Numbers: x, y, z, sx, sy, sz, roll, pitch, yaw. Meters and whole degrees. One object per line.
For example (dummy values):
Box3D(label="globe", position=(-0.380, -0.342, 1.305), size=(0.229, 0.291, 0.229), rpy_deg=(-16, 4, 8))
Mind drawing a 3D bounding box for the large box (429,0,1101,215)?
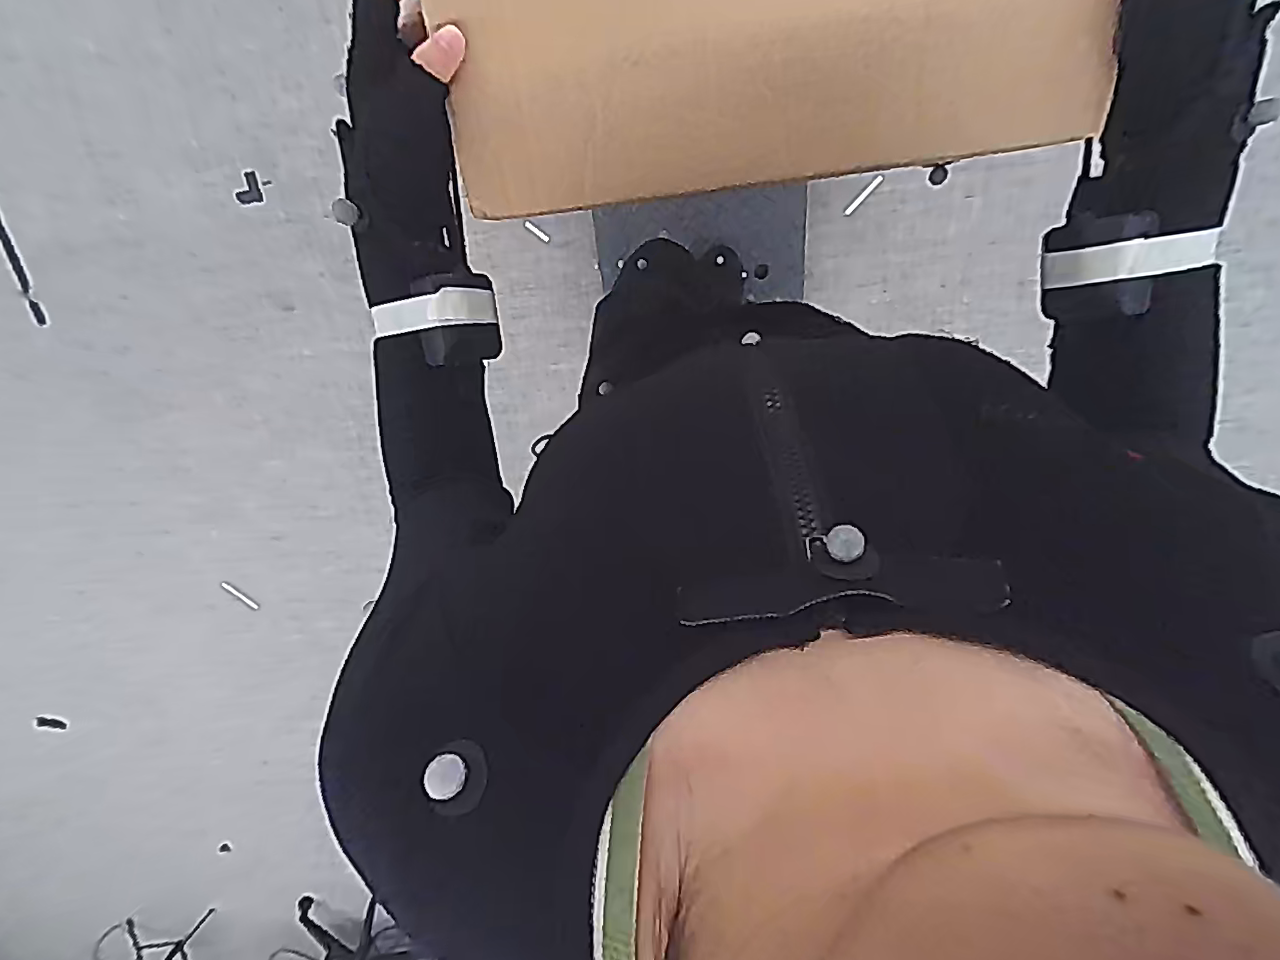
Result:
Box3D(label="large box", position=(0.070, -0.412, 0.422), size=(0.408, 0.320, 0.320), rpy_deg=(-5, 118, 5))
